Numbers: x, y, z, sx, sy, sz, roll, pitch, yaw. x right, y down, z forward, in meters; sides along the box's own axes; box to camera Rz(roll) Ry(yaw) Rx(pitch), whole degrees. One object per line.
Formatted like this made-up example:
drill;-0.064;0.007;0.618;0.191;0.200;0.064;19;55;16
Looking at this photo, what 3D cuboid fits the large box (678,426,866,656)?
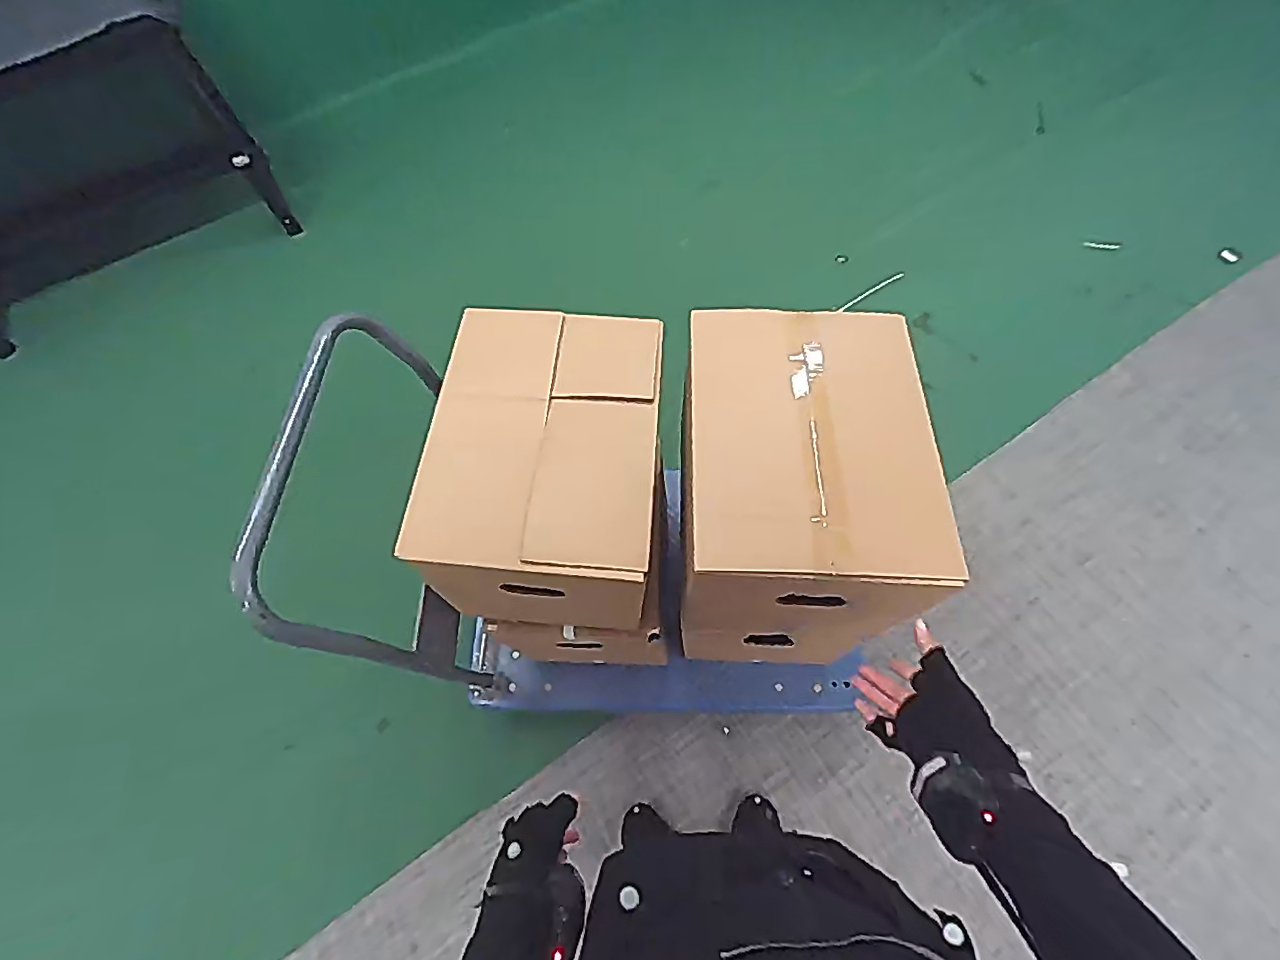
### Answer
large box;0.244;0.138;1.129;0.320;0.320;0.408;-1;65;7
